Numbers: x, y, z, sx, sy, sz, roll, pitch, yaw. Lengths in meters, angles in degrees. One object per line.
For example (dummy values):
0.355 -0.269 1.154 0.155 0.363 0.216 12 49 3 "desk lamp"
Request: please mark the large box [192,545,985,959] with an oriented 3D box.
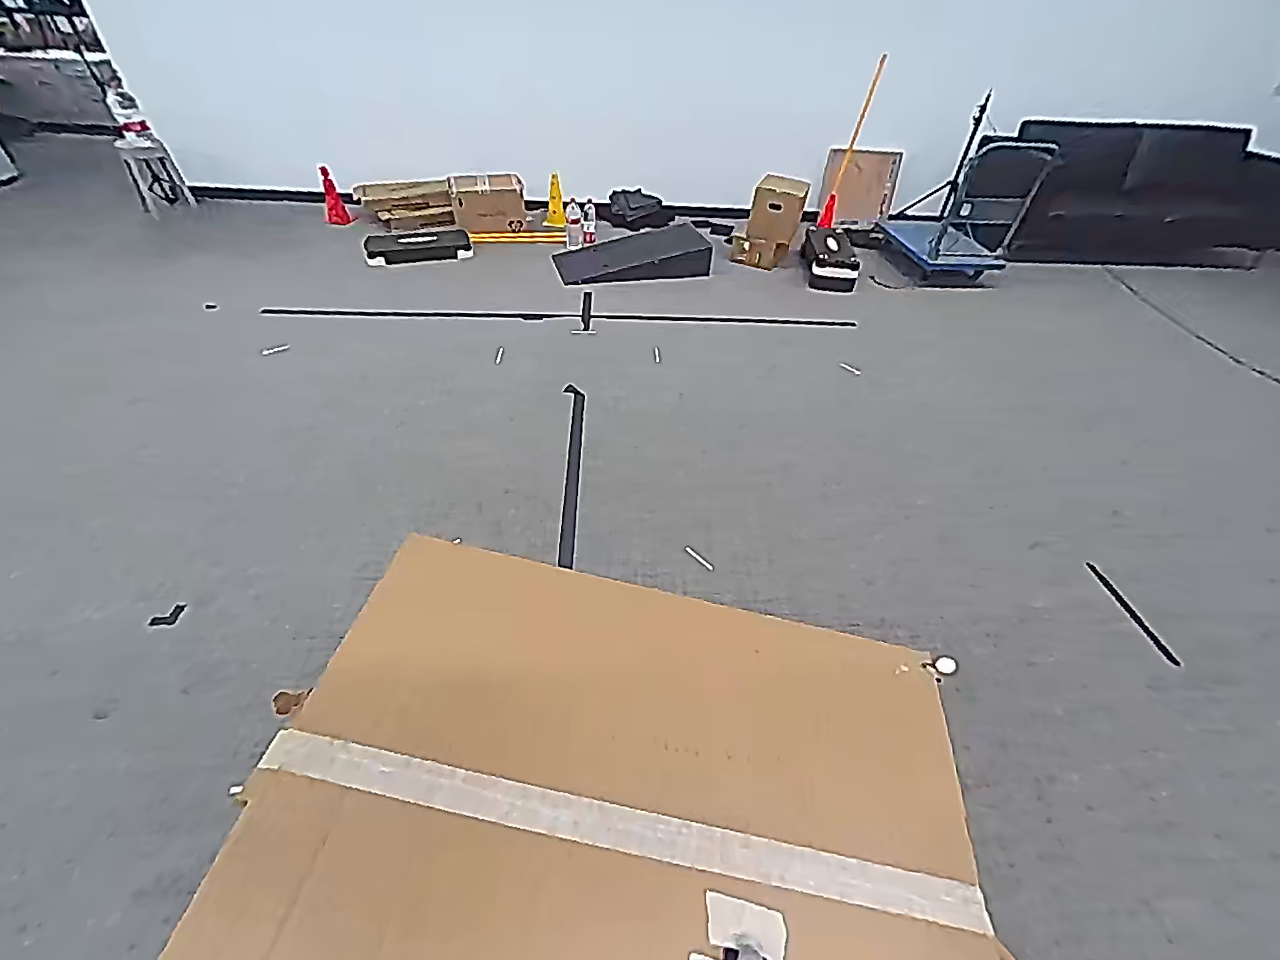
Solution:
-0.024 0.299 0.423 0.408 0.320 0.320 14 48 0 "large box"
